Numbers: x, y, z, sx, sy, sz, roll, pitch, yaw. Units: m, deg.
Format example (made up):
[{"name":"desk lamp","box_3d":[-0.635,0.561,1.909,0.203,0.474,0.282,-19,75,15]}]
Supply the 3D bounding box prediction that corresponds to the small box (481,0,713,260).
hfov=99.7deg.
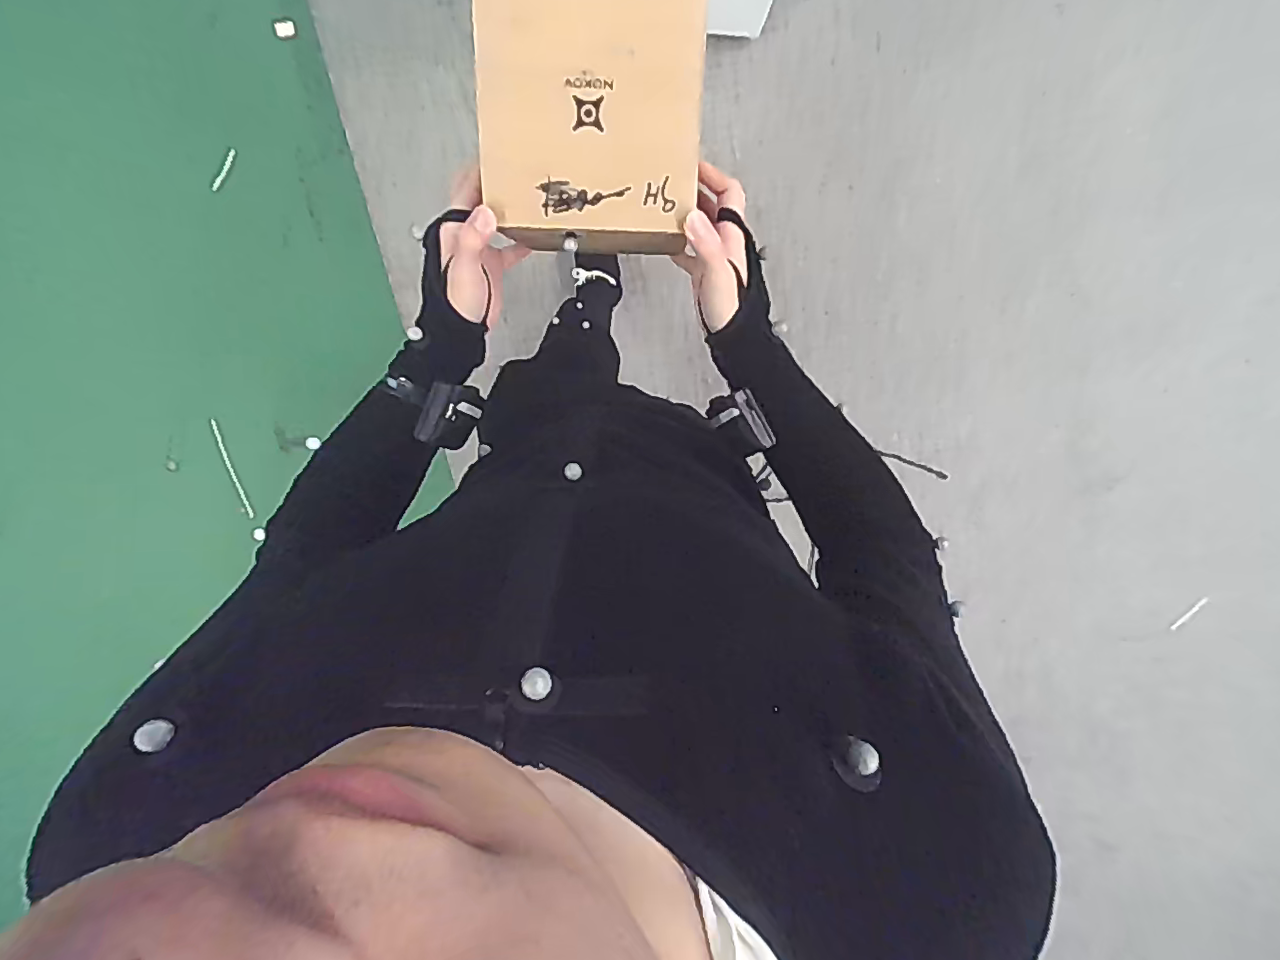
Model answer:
[{"name":"small box","box_3d":[-0.034,-0.300,0.473,0.168,0.176,0.179,3,106,0]}]
